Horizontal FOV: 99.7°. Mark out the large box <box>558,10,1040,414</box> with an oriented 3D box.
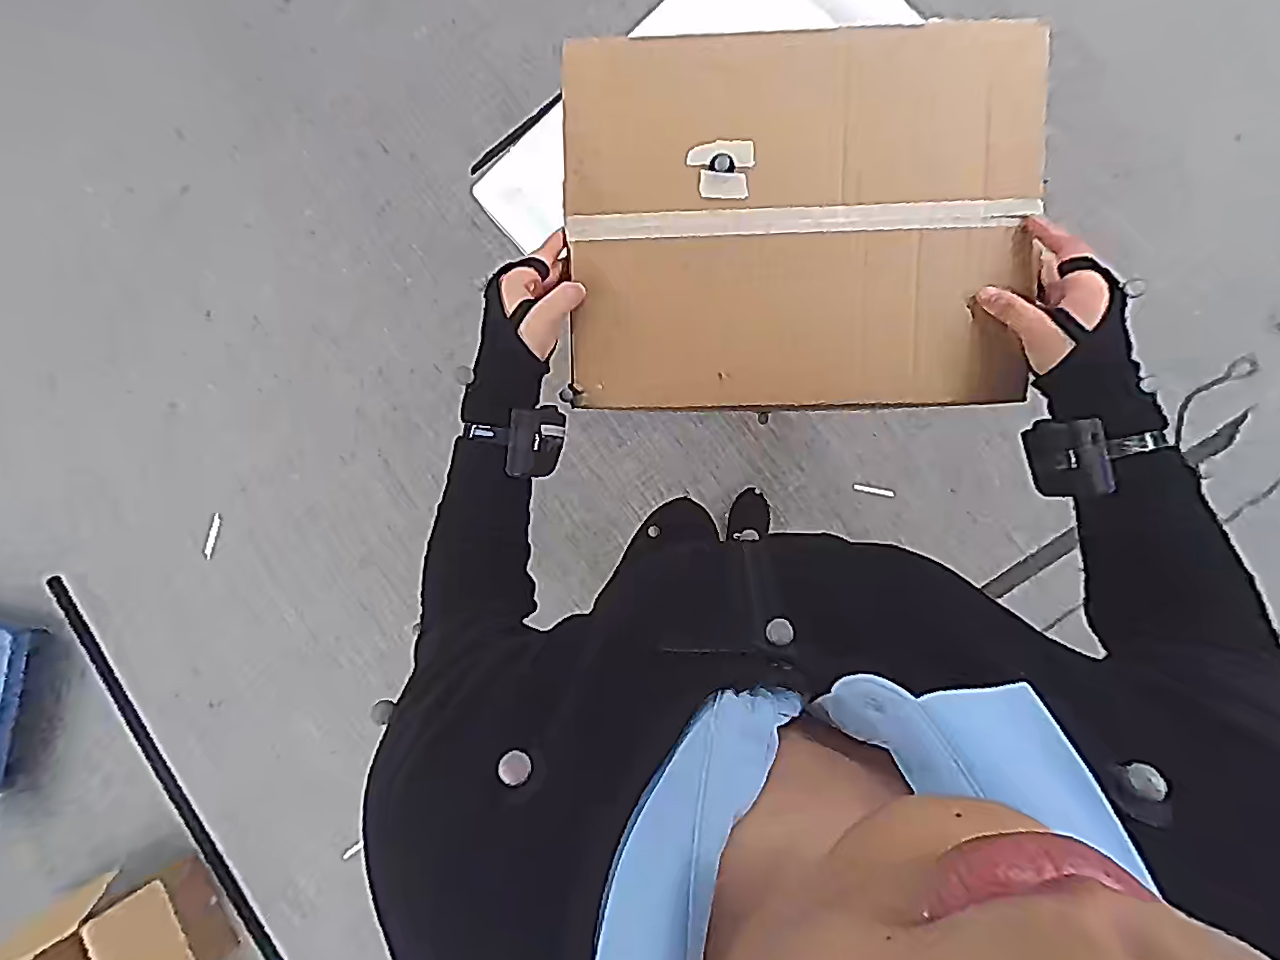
[{"bbox_3d":[0.144,-0.238,0.614,0.408,0.320,0.320,-1,95,4],"label":"large box"}]
